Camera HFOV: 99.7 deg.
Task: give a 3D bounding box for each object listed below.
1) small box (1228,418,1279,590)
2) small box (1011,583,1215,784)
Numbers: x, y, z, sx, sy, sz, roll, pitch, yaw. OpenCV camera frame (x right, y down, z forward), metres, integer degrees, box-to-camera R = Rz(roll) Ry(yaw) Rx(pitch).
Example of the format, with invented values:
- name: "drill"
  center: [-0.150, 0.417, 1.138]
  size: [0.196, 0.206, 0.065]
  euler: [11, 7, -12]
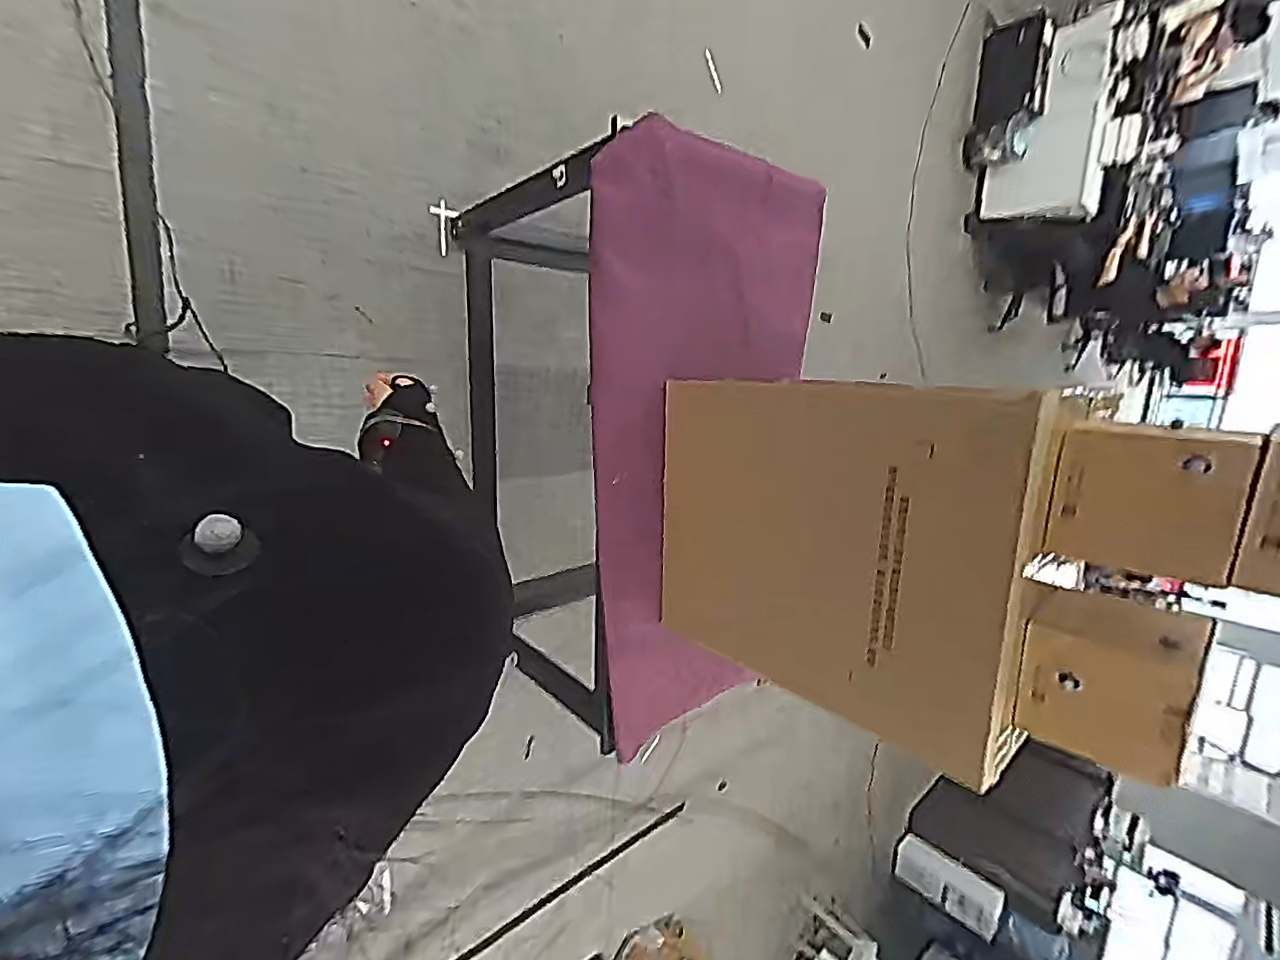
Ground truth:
- name: "small box"
  center: [0.750, 0.032, 0.559]
  size: [0.179, 0.176, 0.168]
  euler: [-14, 110, -39]
- name: "small box"
  center: [0.635, 0.255, 0.732]
  size: [0.179, 0.176, 0.168]
  euler: [-12, 106, -39]
